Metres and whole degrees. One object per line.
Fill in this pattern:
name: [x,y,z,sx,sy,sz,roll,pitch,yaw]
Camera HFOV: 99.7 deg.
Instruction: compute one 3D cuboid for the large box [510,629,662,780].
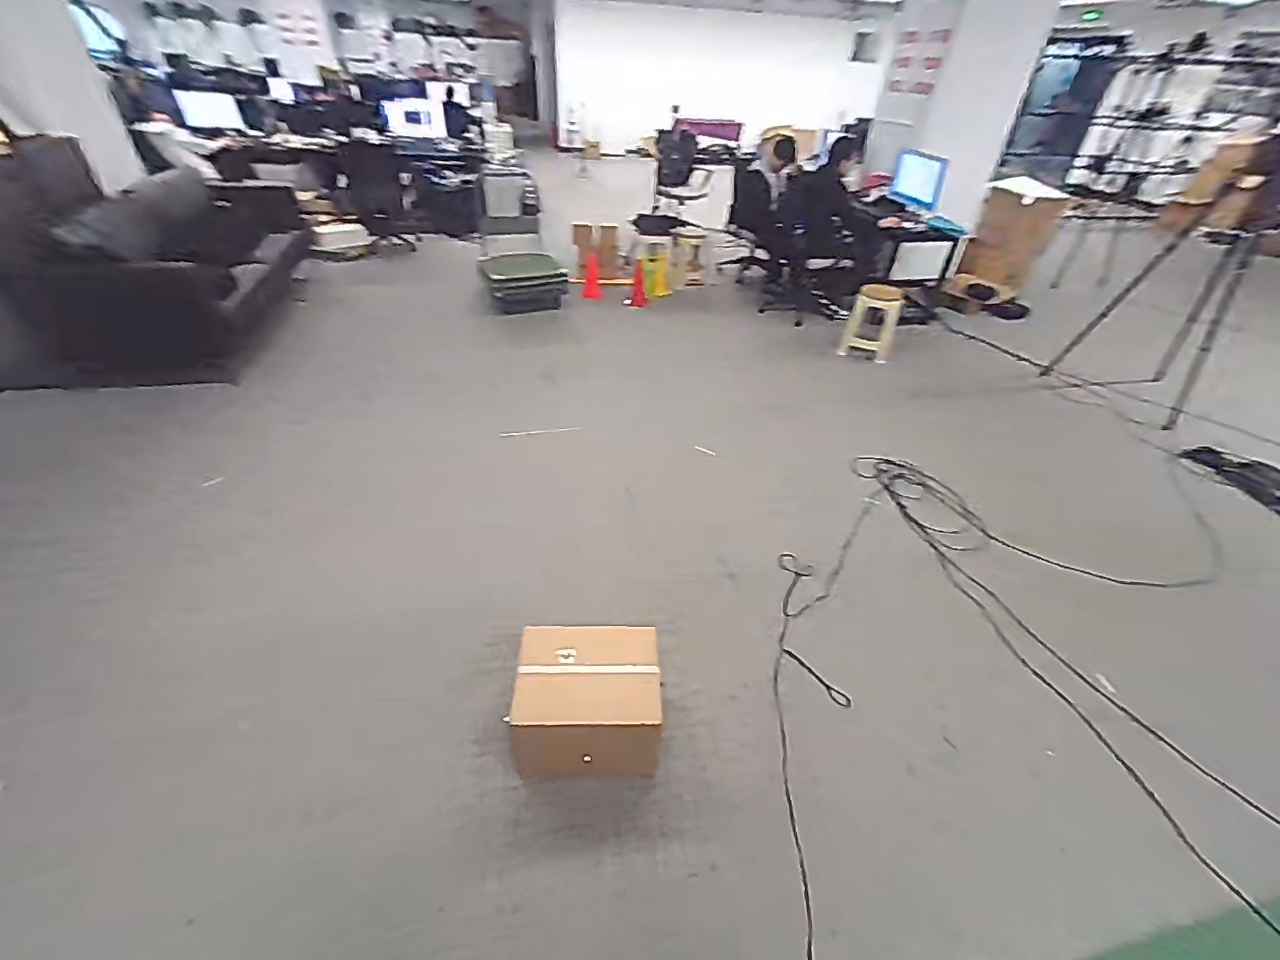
large box: [-0.149,0.671,1.621,0.408,0.320,0.320,0,37,-2]
